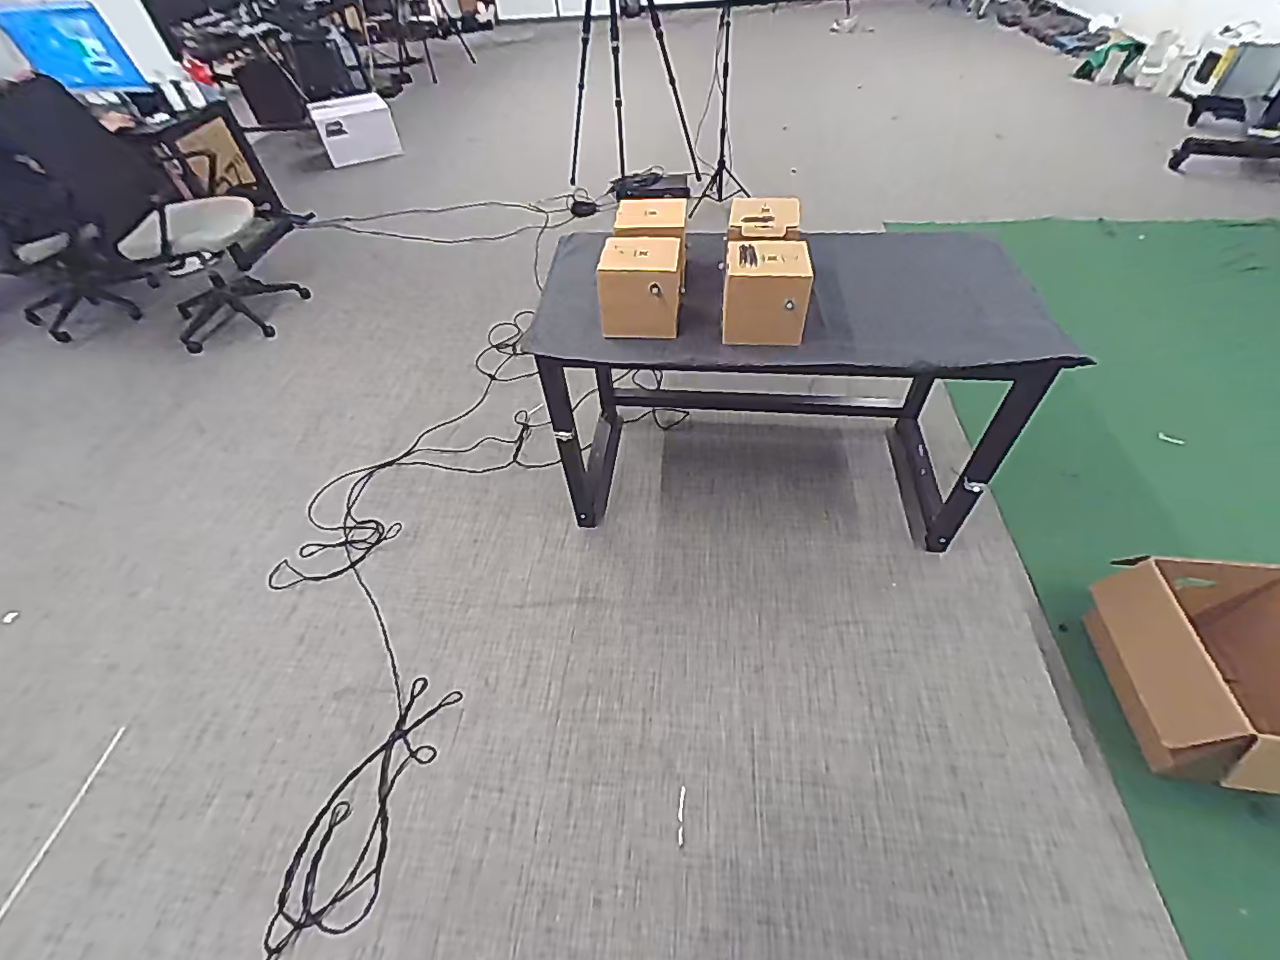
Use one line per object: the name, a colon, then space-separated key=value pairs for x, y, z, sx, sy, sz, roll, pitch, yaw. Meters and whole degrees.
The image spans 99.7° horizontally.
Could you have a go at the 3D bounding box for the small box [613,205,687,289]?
small box: x=0.032 y=-0.600 z=1.419 sx=0.179 sy=0.176 sz=0.168 roll=1 pitch=49 yaw=6

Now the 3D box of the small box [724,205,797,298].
small box: x=0.306 y=-0.582 z=1.379 sx=0.168 sy=0.176 sz=0.179 roll=6 pitch=48 yaw=9

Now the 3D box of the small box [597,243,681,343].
small box: x=0.004 y=-0.437 z=1.269 sx=0.179 sy=0.176 sz=0.168 roll=3 pitch=47 yaw=6
